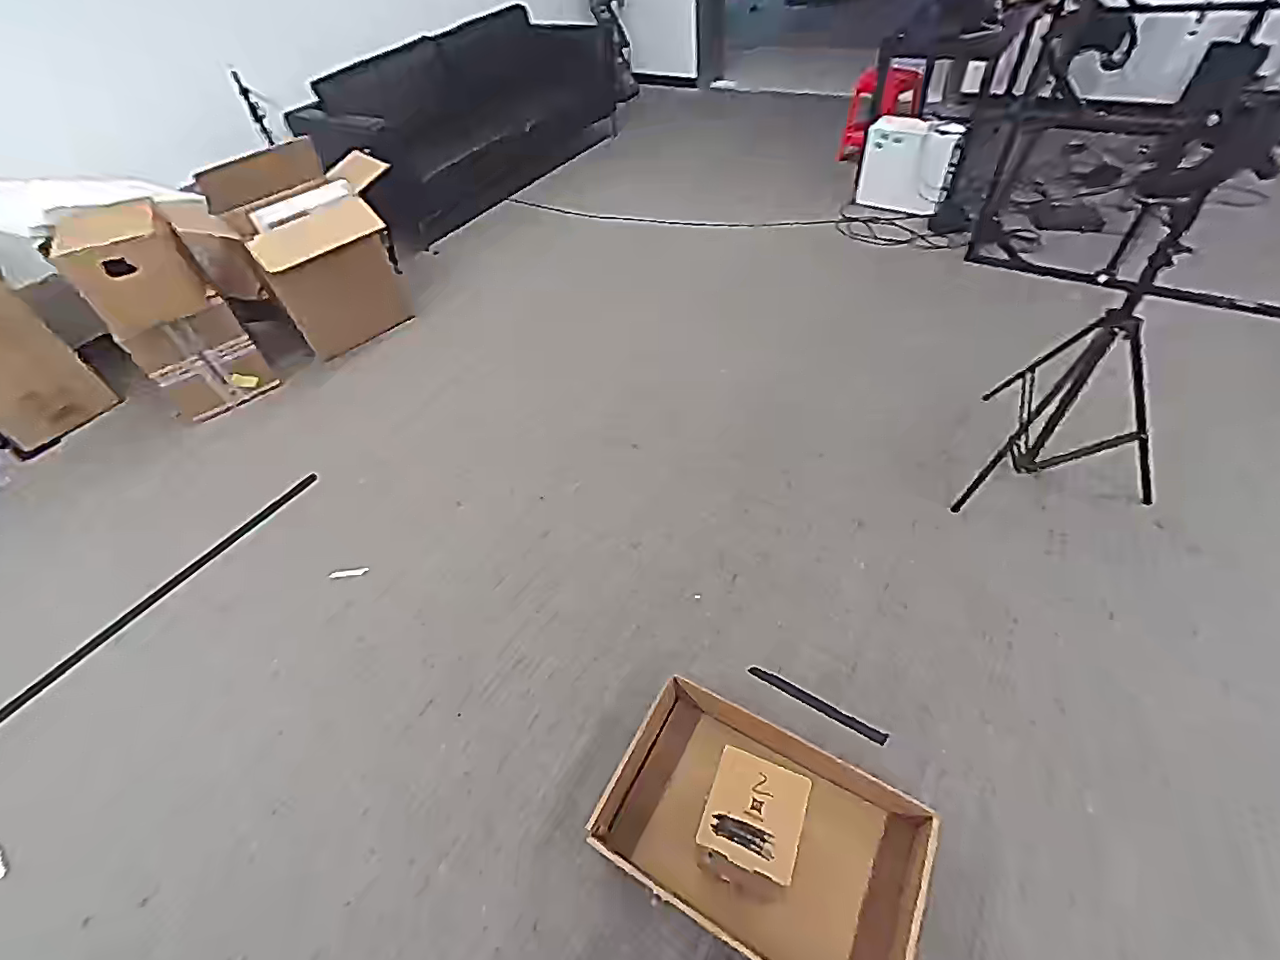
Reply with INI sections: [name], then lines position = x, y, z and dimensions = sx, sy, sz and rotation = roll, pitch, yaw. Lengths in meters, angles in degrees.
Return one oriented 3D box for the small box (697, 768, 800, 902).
[small box]
position = 0.226, 0.750, 1.142
dimensions = 0.168, 0.176, 0.179
rotation = 16, 53, 21
